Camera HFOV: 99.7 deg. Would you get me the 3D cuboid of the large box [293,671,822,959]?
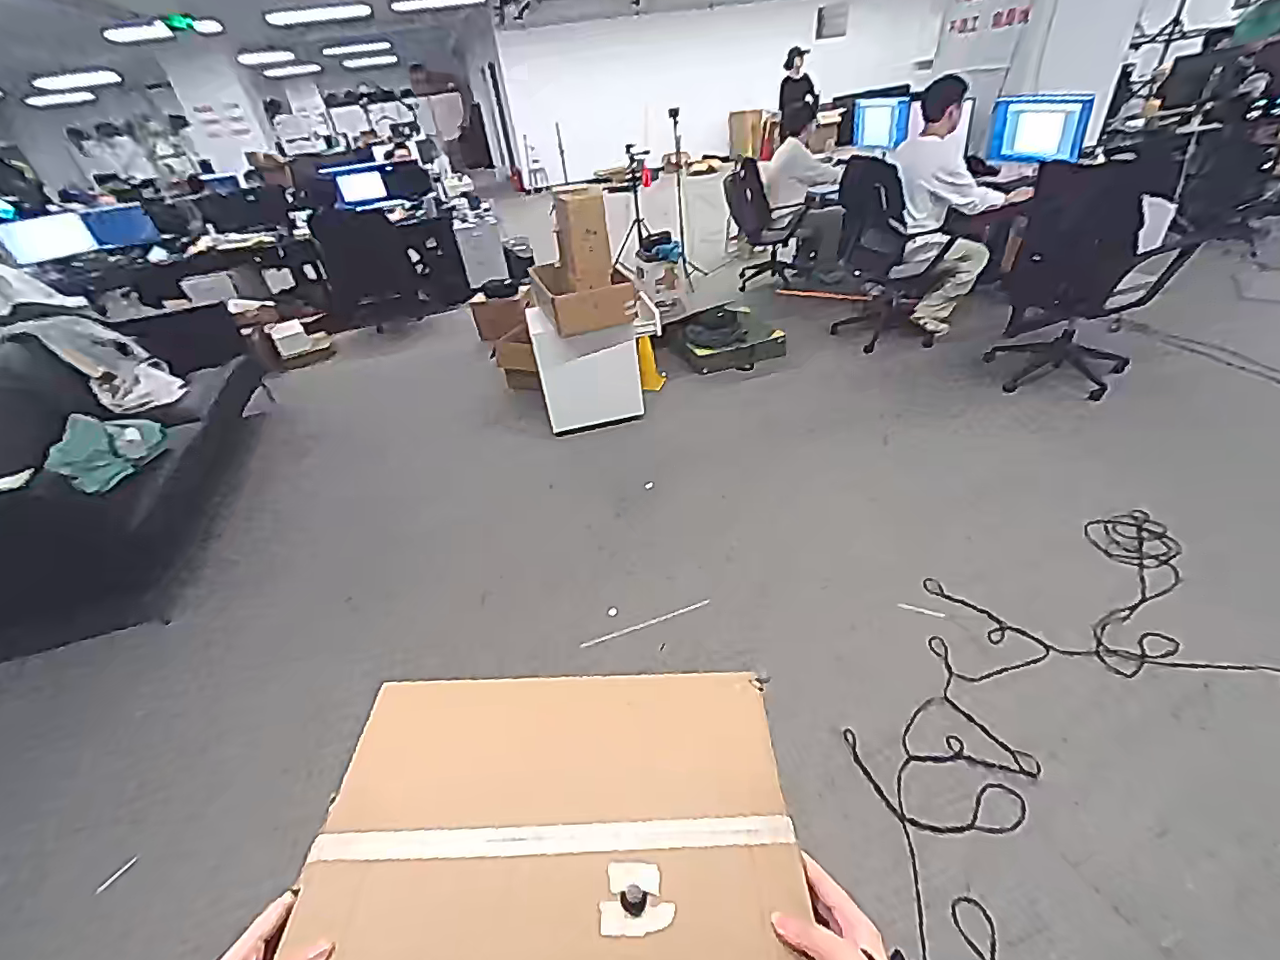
[{"bbox_3d":[-0.067,0.428,0.564,0.408,0.320,0.320,0,37,-1],"label":"large box"}]
